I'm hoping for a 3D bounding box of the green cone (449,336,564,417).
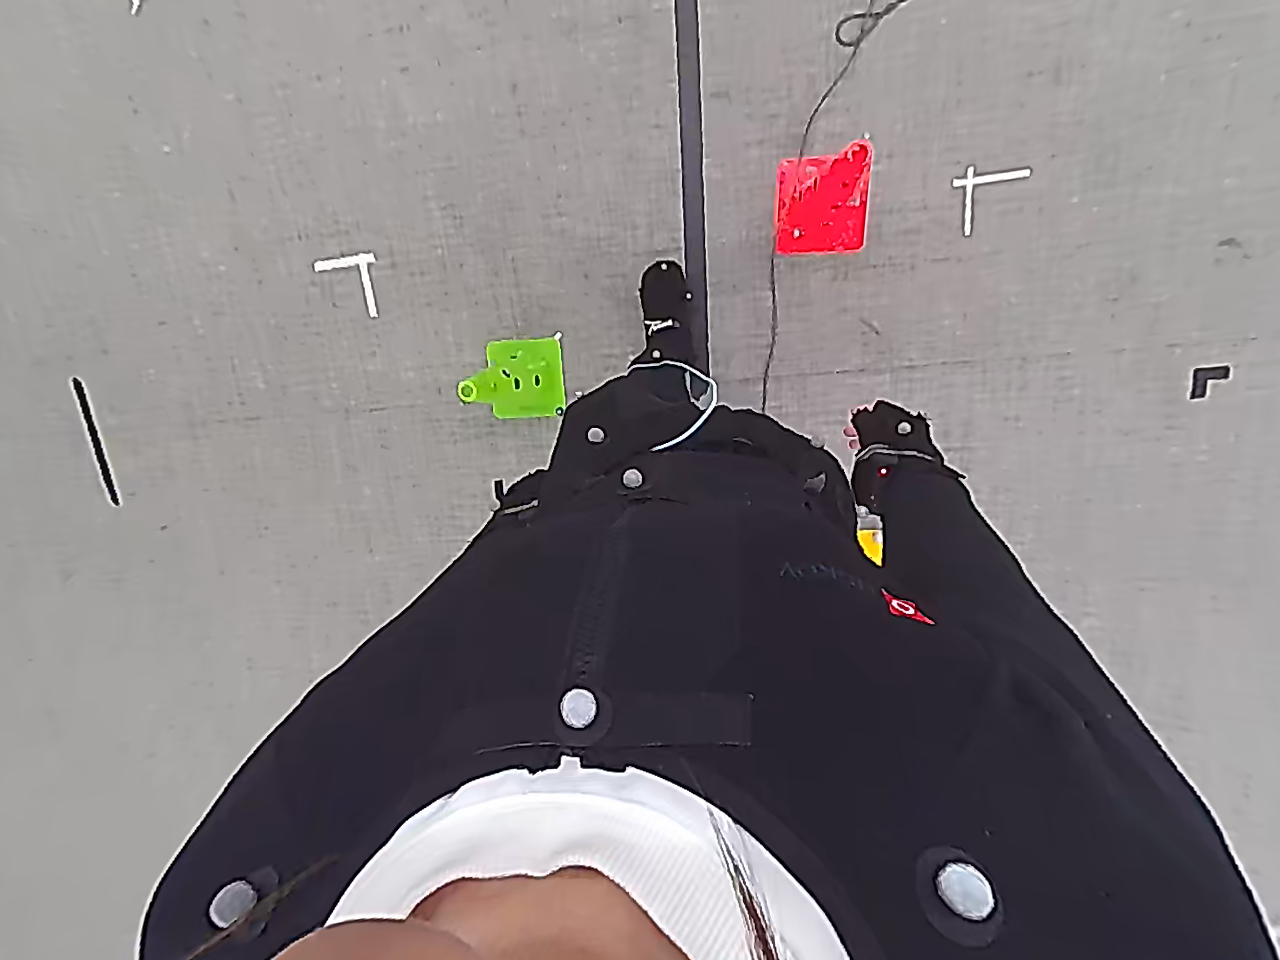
[{"bbox_3d":[-0.326,-0.227,1.236,0.202,0.368,0.200,-2,103,10],"label":"green cone"}]

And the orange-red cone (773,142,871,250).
[{"bbox_3d":[0.385,-0.580,1.052,0.199,0.360,0.198,2,105,7],"label":"orange-red cone"}]
